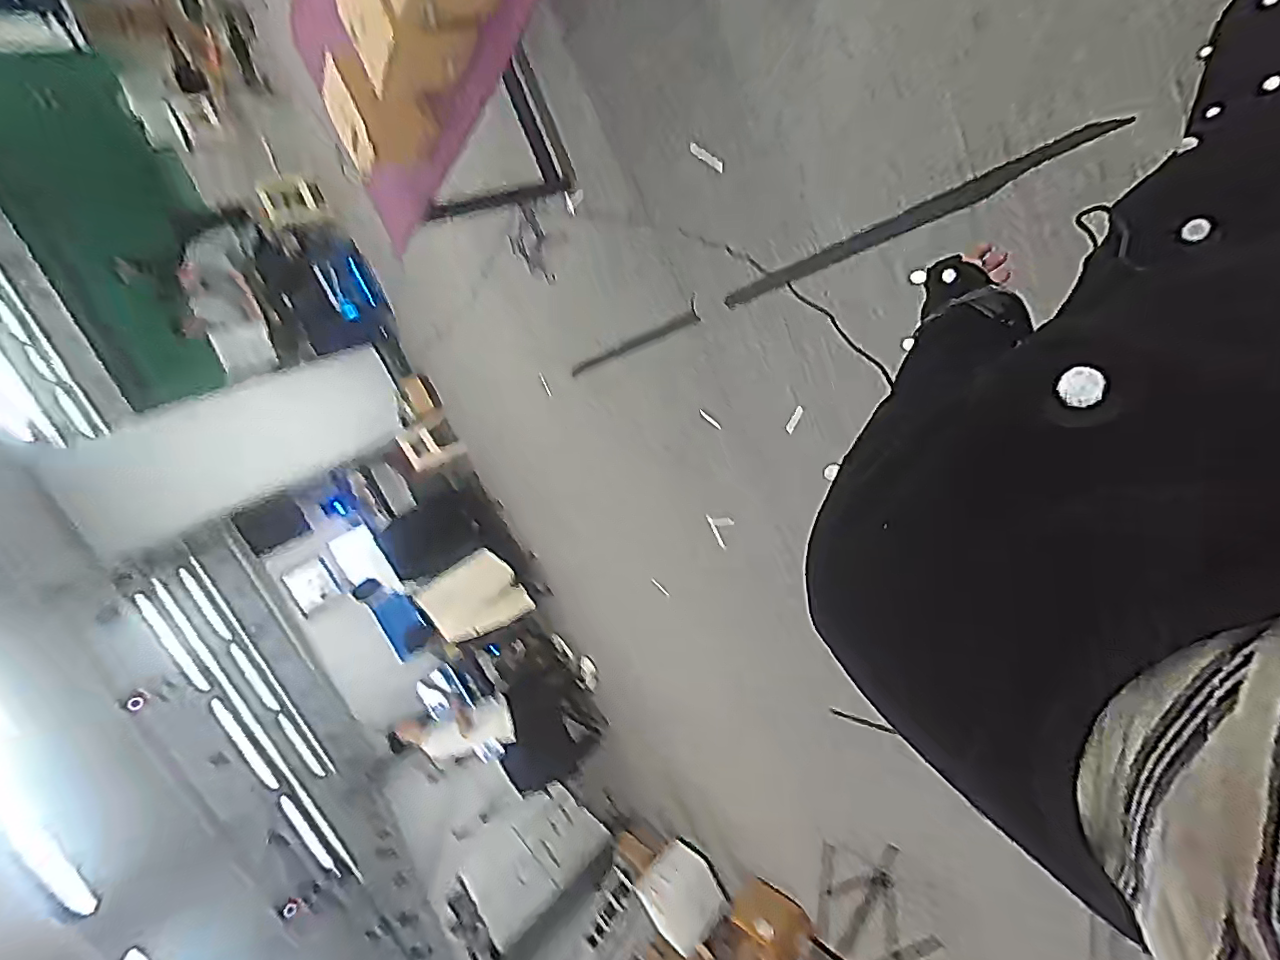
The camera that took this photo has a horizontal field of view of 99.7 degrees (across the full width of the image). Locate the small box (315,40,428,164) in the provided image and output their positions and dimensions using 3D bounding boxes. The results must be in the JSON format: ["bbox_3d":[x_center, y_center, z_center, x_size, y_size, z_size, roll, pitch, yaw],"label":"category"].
[{"bbox_3d":[-0.616,-0.872,1.247,0.168,0.176,0.179,-7,111,56],"label":"small box"}]
